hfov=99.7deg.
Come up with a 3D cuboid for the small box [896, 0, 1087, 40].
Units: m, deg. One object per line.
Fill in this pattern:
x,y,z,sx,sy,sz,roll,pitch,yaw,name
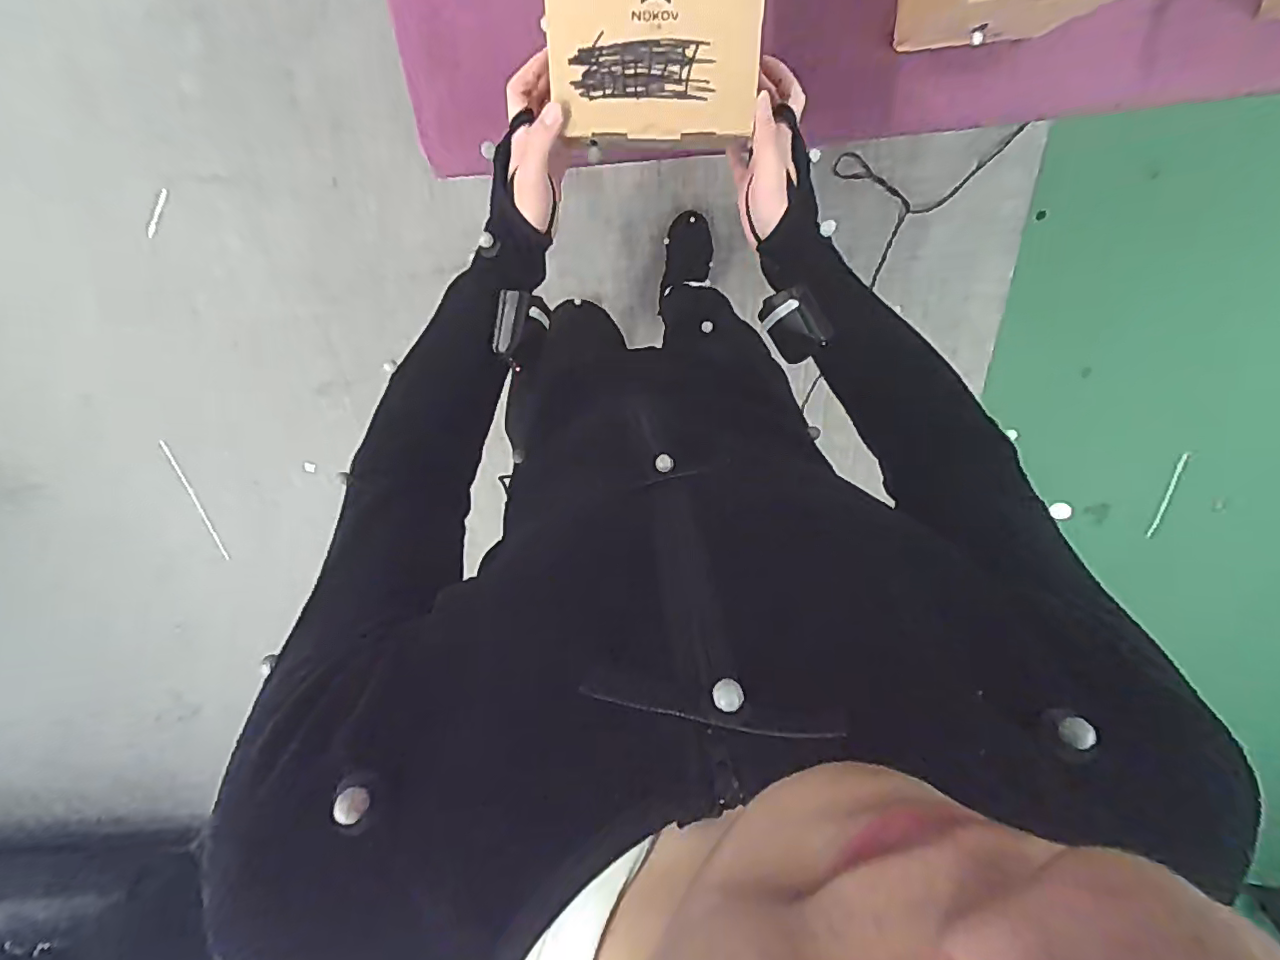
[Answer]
0.358,-0.546,0.501,0.168,0.176,0.179,-4,118,4,small box
